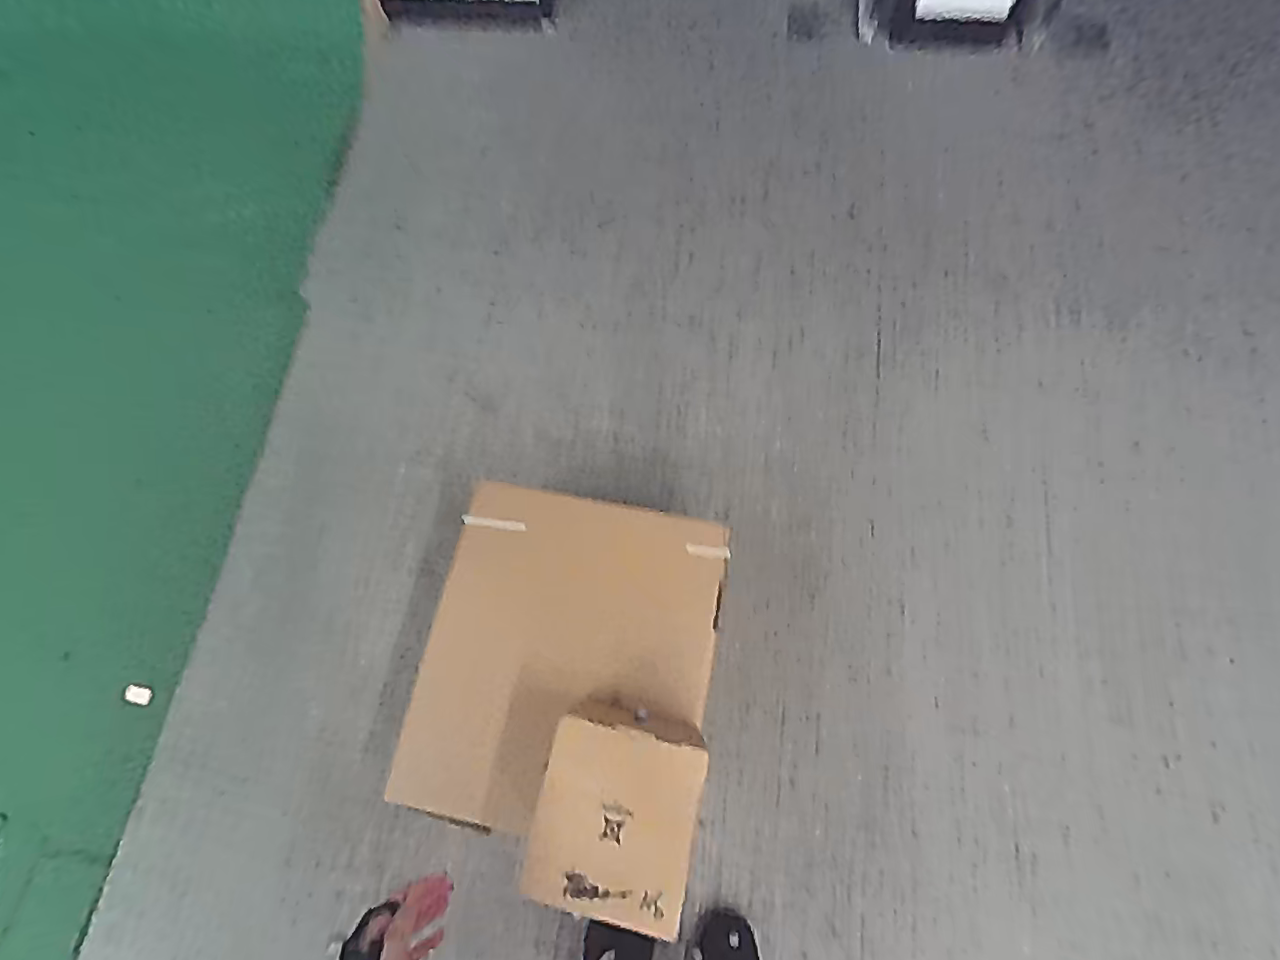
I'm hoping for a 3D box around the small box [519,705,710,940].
[{"bbox_3d":[-0.022,0.374,0.631,0.168,0.176,0.179,12,72,6],"label":"small box"}]
